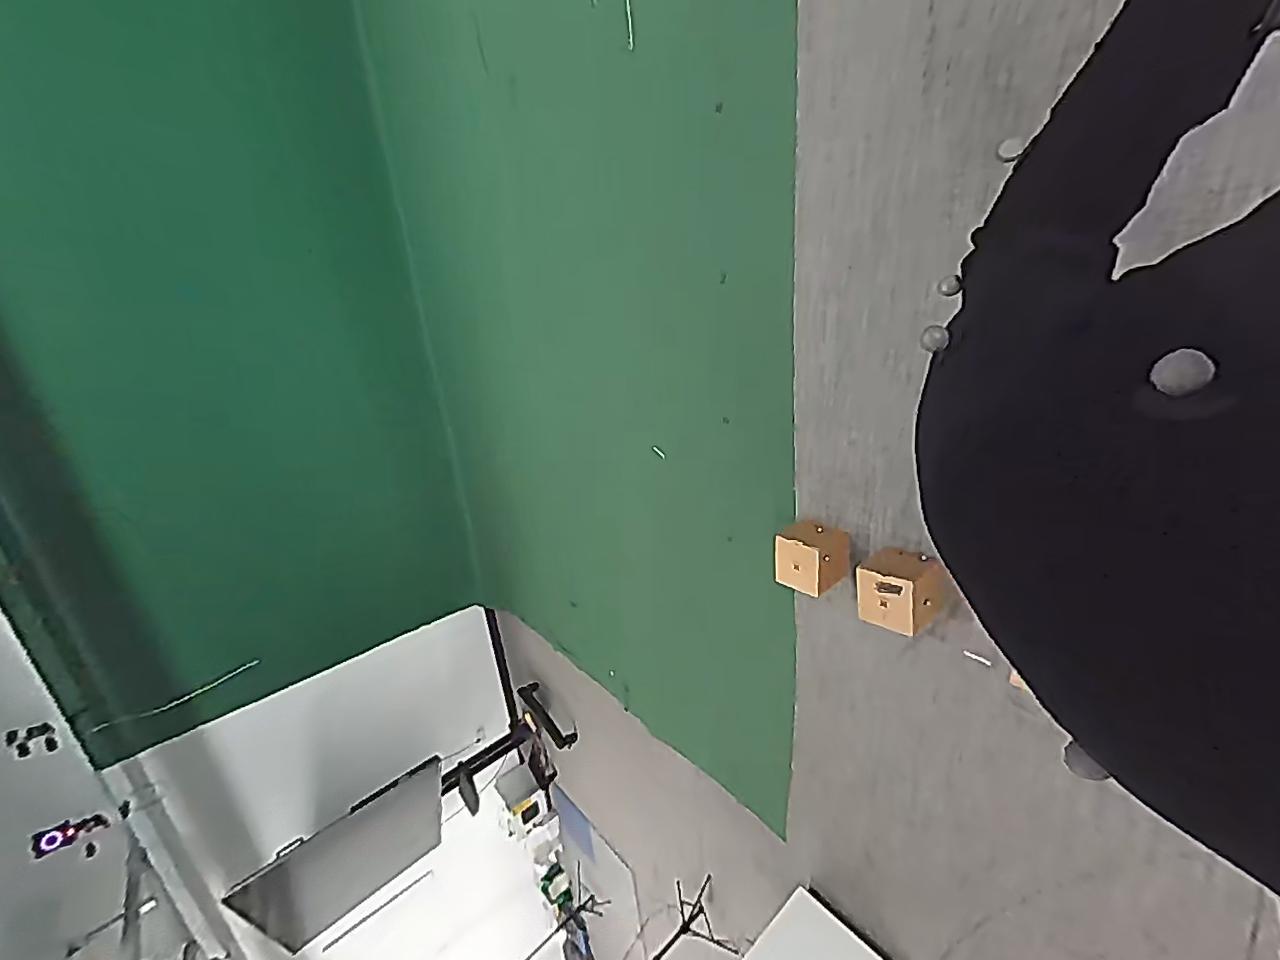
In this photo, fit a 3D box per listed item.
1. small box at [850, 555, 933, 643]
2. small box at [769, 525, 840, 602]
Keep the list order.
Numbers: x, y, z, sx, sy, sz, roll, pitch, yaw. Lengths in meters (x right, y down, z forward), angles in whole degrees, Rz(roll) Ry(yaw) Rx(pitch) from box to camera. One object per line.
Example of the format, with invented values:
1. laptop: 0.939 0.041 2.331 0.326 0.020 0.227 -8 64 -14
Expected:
1. small box: 0.734 0.337 1.576 0.168 0.176 0.179 12 115 49
2. small box: 0.544 0.271 1.789 0.168 0.176 0.179 17 118 47
